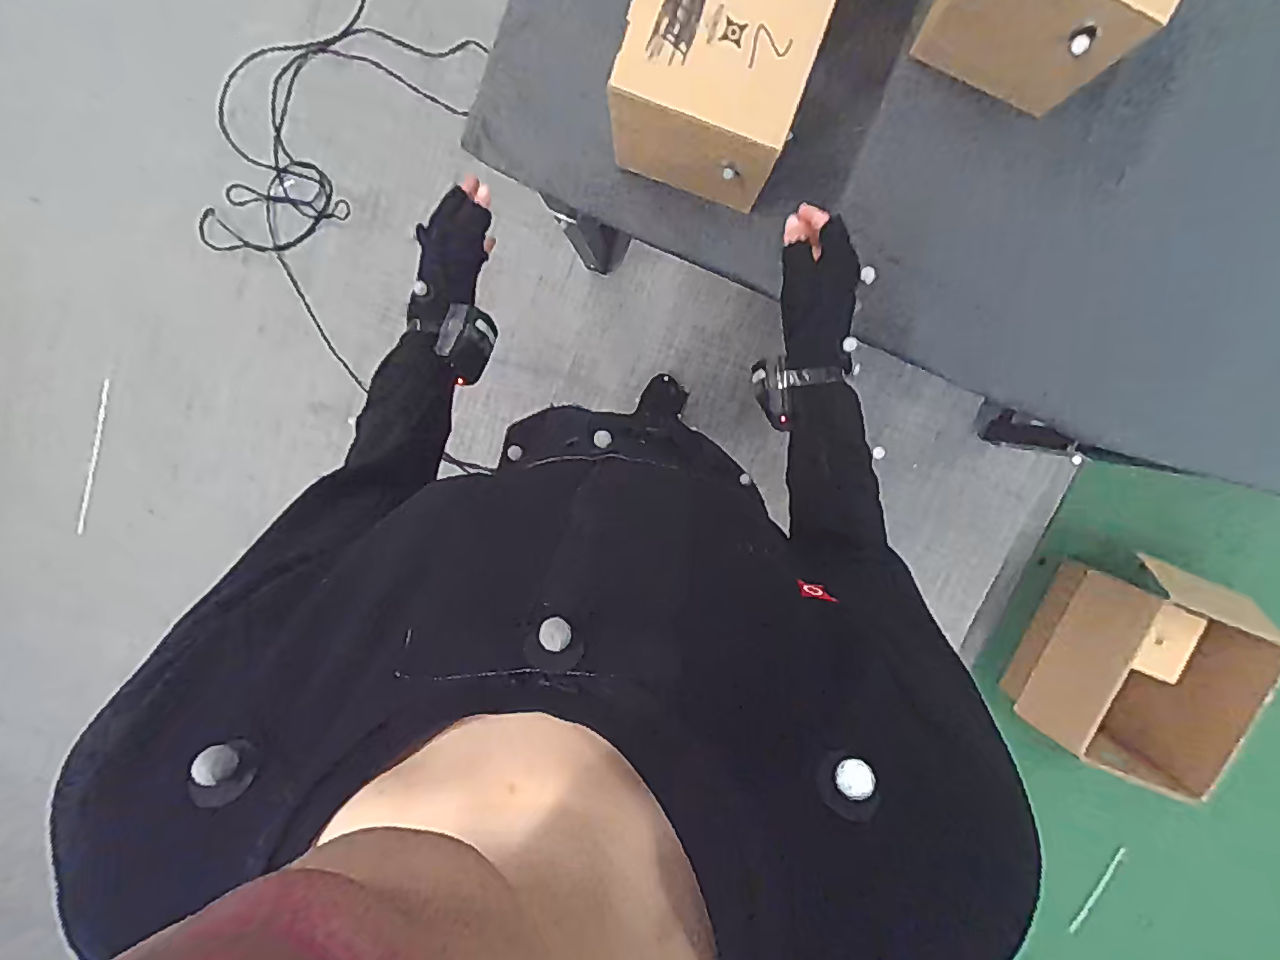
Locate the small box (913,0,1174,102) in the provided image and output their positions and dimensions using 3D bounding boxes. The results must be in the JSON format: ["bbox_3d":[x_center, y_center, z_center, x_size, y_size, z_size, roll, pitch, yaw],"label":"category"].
[{"bbox_3d":[0.421,-0.526,0.542,0.179,0.176,0.168,25,99,-2],"label":"small box"}]
